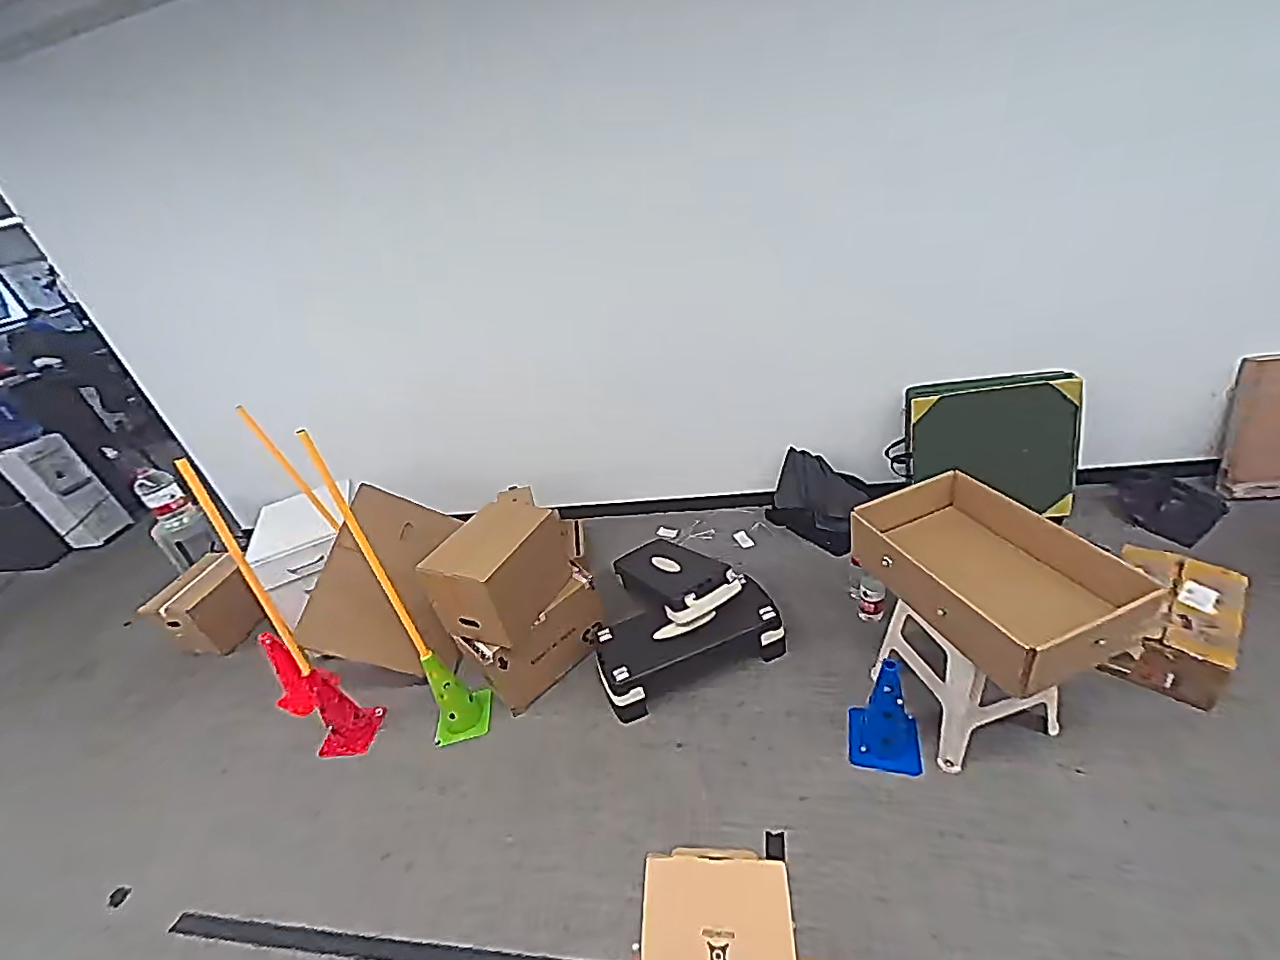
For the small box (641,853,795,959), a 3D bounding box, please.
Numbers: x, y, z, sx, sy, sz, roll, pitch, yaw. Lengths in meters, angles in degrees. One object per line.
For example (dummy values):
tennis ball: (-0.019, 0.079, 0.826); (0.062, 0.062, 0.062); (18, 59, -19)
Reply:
small box: (0.085, 0.567, 0.624); (0.168, 0.176, 0.179); (1, 39, 6)
